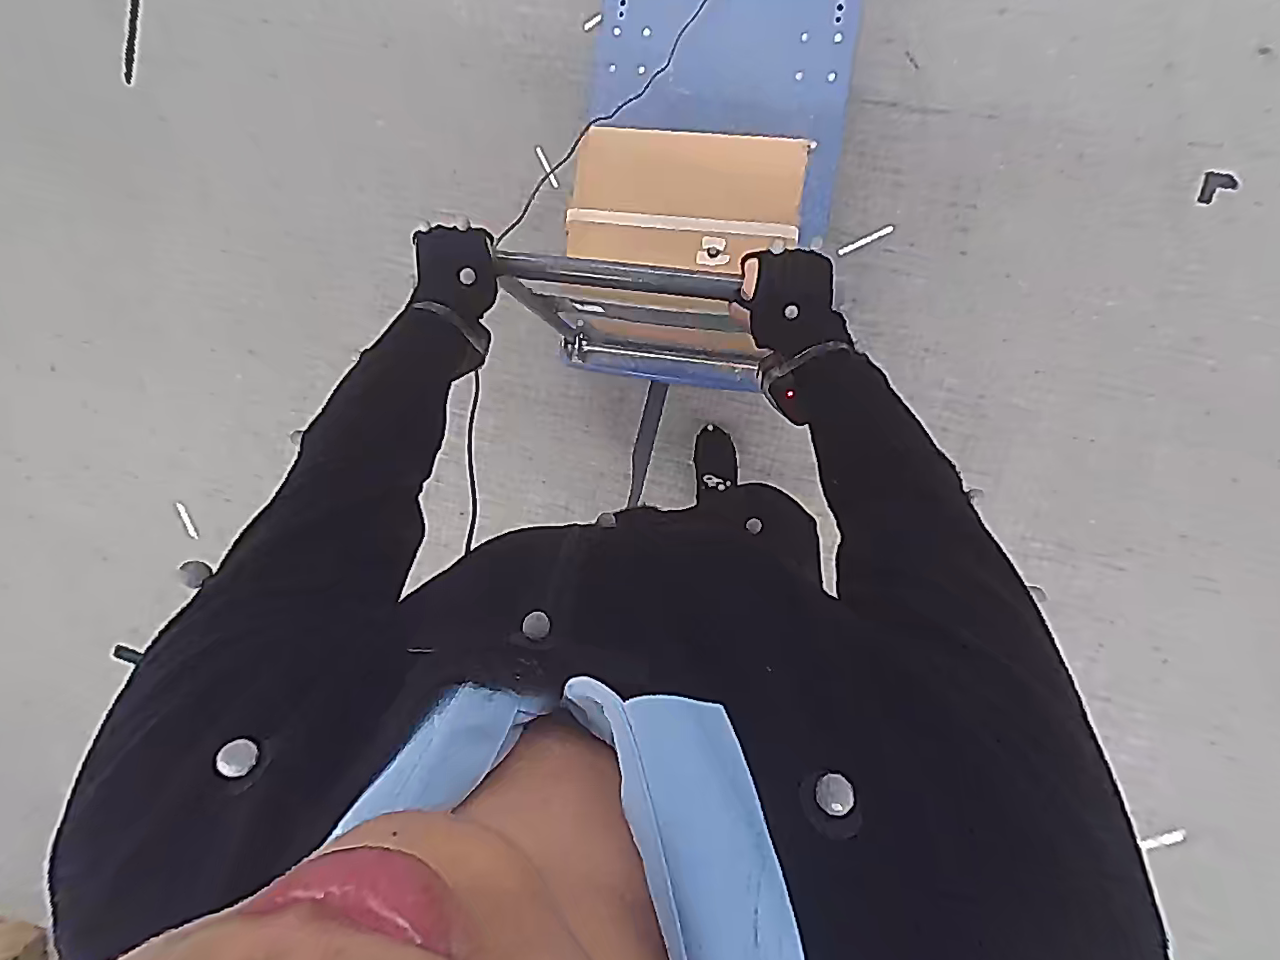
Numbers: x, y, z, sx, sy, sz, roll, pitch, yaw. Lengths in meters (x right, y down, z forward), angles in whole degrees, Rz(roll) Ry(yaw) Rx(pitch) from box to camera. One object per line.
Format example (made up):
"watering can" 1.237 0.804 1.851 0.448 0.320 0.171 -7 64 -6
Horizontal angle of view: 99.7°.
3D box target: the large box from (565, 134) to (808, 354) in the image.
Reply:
"large box" 0.093 -0.455 1.106 0.408 0.320 0.320 9 96 8
